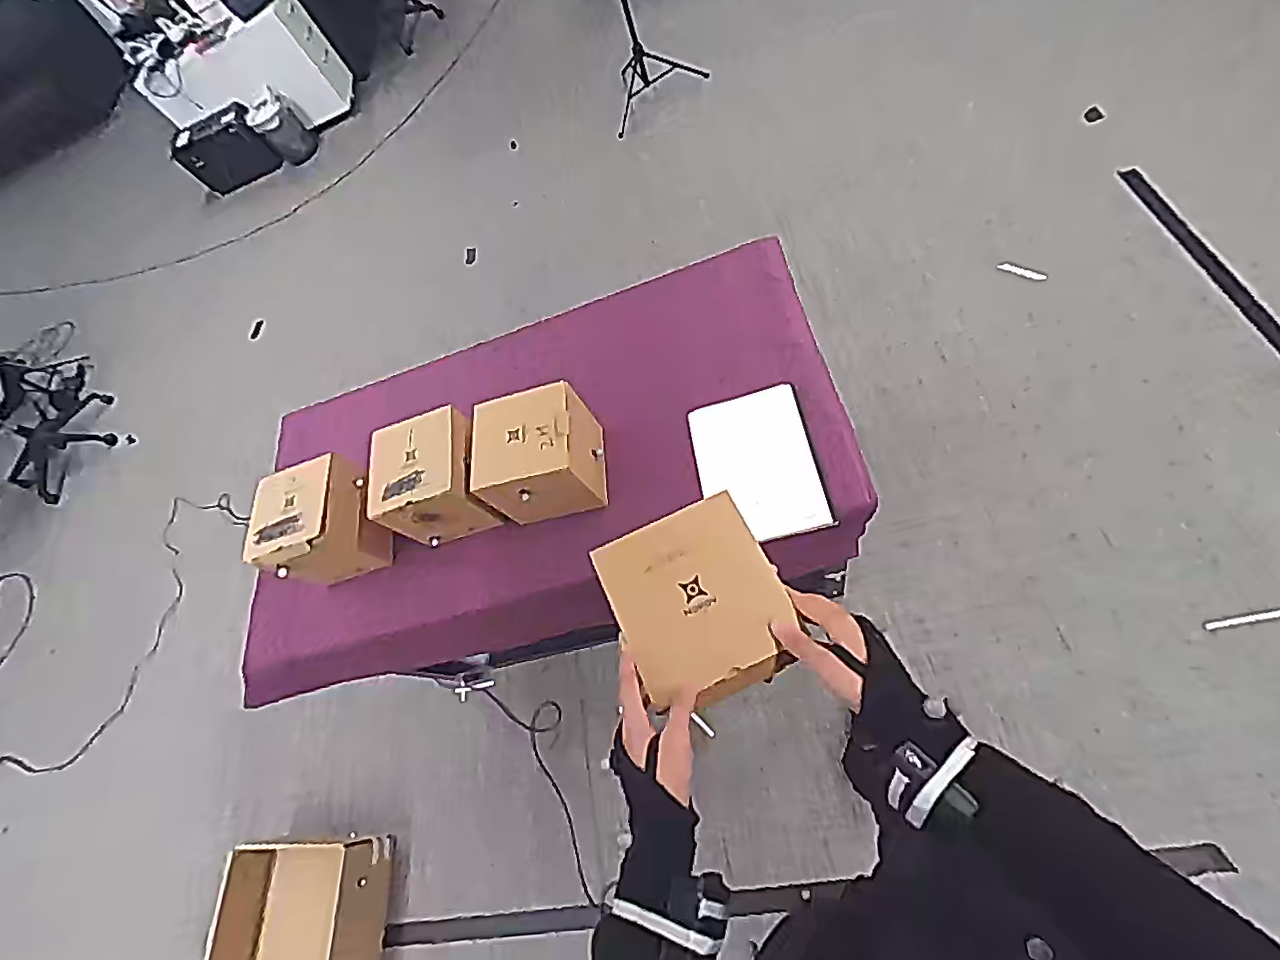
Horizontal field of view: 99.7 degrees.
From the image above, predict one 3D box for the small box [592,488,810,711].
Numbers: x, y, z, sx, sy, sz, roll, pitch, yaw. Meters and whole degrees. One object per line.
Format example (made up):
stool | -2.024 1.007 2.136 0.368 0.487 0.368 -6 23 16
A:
small box | 0.066 0.142 0.611 0.168 0.176 0.179 -25 64 -5
